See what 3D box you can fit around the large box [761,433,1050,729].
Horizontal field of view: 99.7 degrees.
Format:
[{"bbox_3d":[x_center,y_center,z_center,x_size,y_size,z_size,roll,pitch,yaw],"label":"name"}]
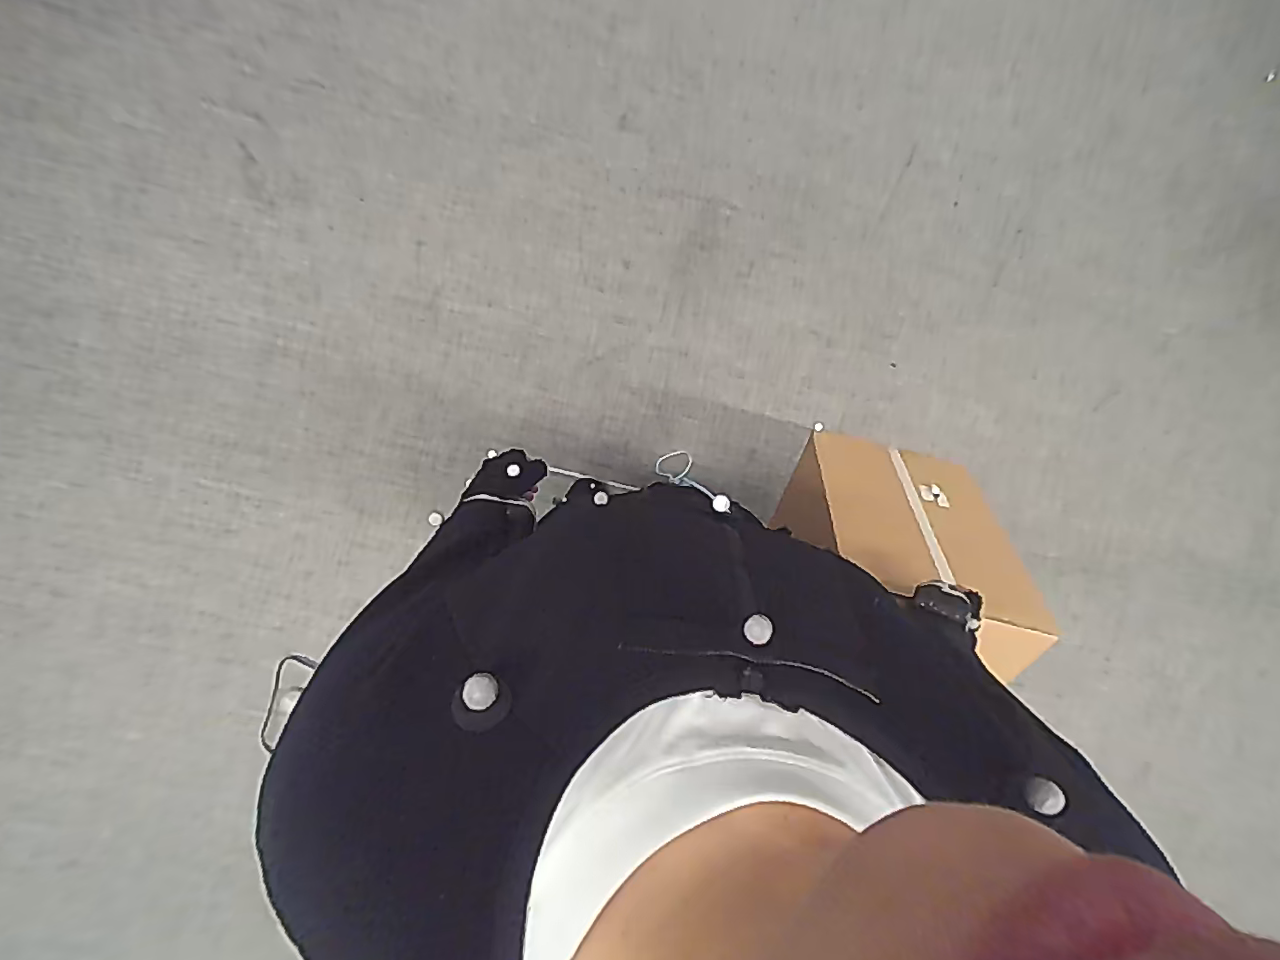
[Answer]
[{"bbox_3d":[0.427,0.175,1.002,0.320,0.408,0.320,15,128,-1],"label":"large box"}]
